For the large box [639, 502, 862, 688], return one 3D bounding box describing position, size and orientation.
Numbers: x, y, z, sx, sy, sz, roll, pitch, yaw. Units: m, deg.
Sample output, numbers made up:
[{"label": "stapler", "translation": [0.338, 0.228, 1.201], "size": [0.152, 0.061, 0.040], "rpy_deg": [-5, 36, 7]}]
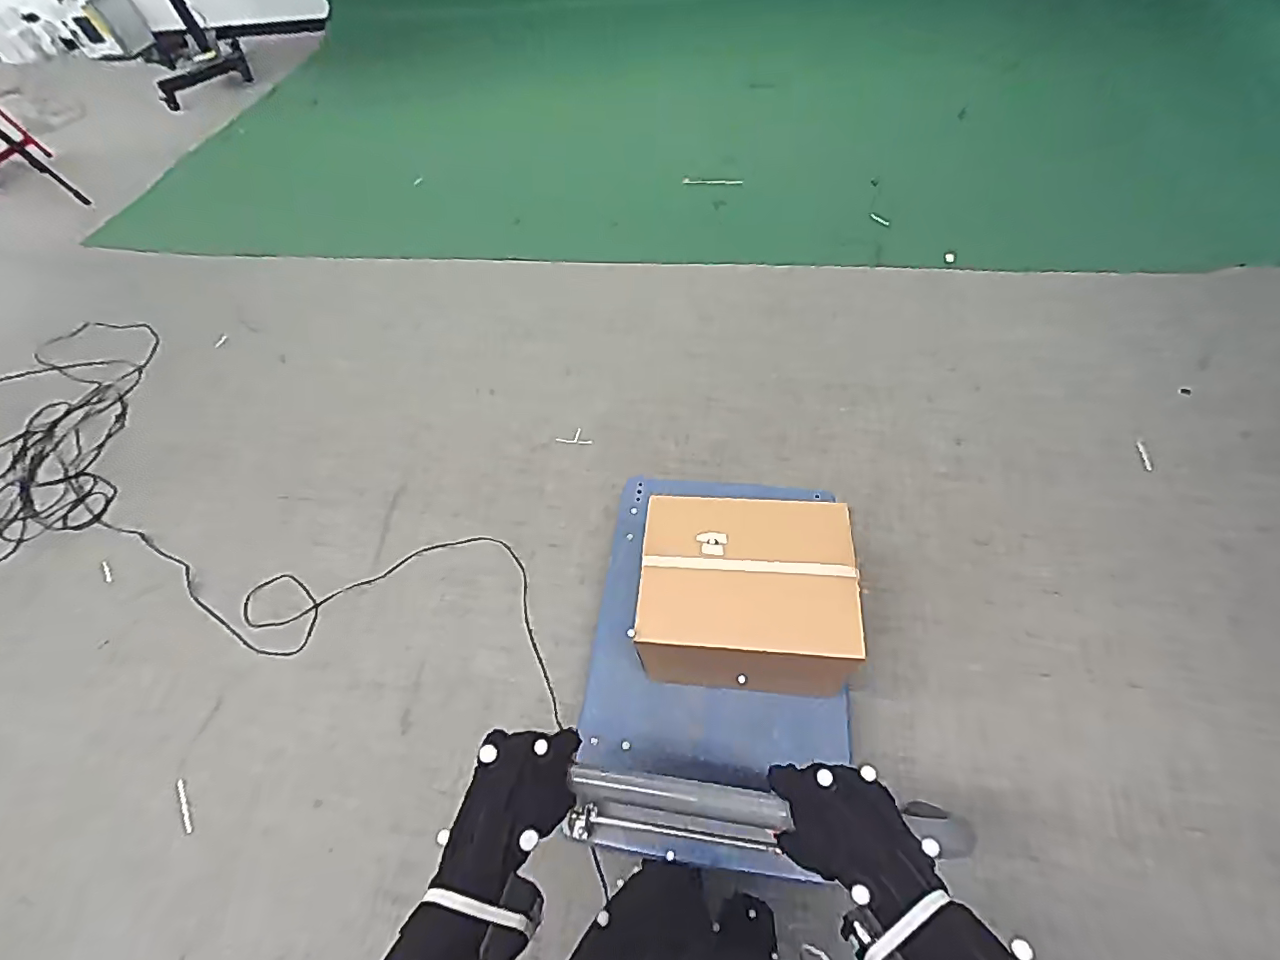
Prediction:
[{"label": "large box", "translation": [0.225, 0.256, 1.174], "size": [0.408, 0.320, 0.320], "rpy_deg": [0, 57, 9]}]
